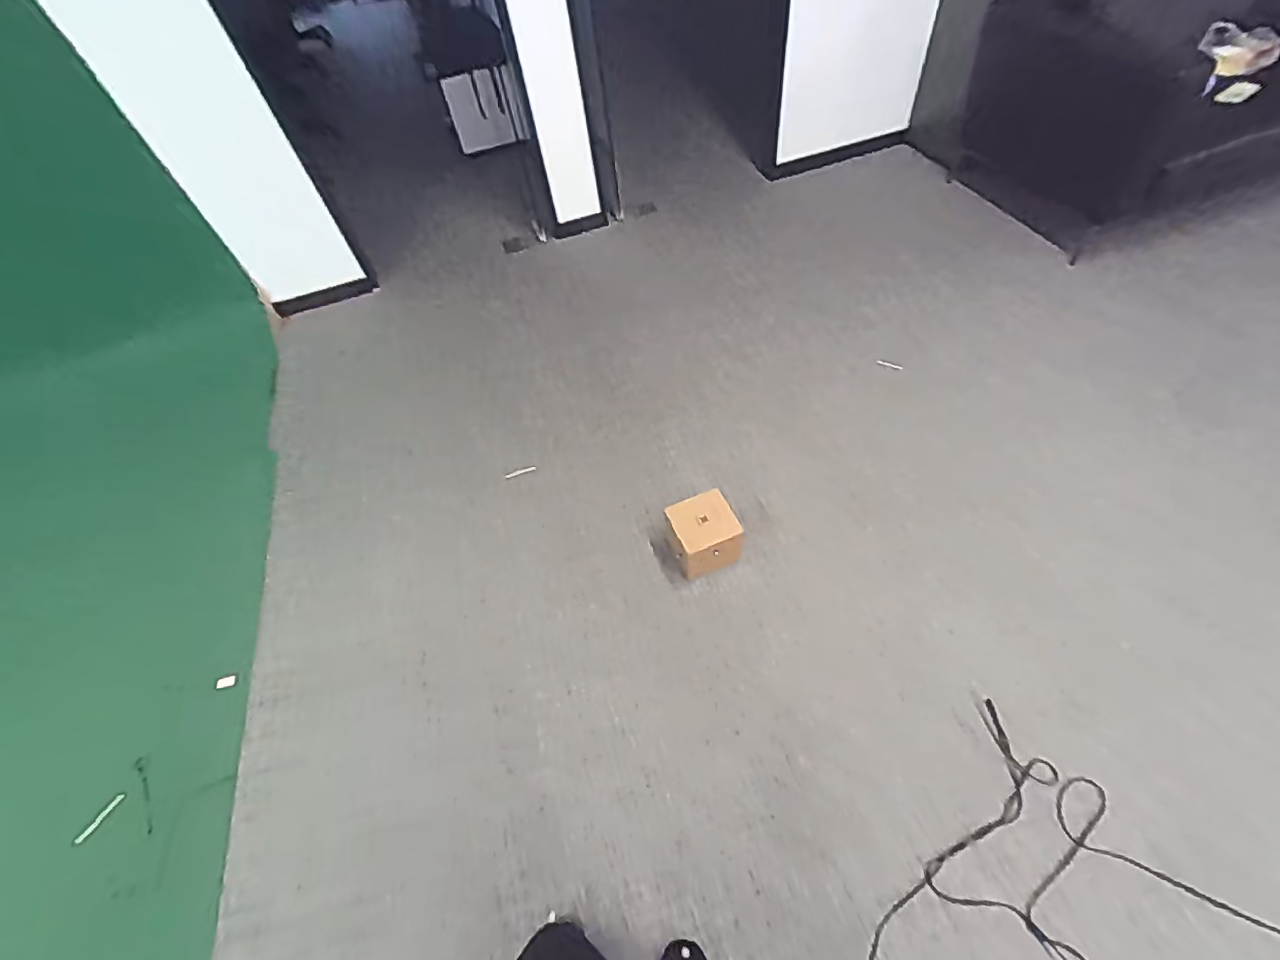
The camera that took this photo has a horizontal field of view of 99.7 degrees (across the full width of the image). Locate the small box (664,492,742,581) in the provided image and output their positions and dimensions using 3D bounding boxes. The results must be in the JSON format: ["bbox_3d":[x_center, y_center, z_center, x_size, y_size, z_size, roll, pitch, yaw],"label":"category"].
[{"bbox_3d":[0.184,0.170,1.583,0.179,0.176,0.168,-21,54,-8],"label":"small box"}]
